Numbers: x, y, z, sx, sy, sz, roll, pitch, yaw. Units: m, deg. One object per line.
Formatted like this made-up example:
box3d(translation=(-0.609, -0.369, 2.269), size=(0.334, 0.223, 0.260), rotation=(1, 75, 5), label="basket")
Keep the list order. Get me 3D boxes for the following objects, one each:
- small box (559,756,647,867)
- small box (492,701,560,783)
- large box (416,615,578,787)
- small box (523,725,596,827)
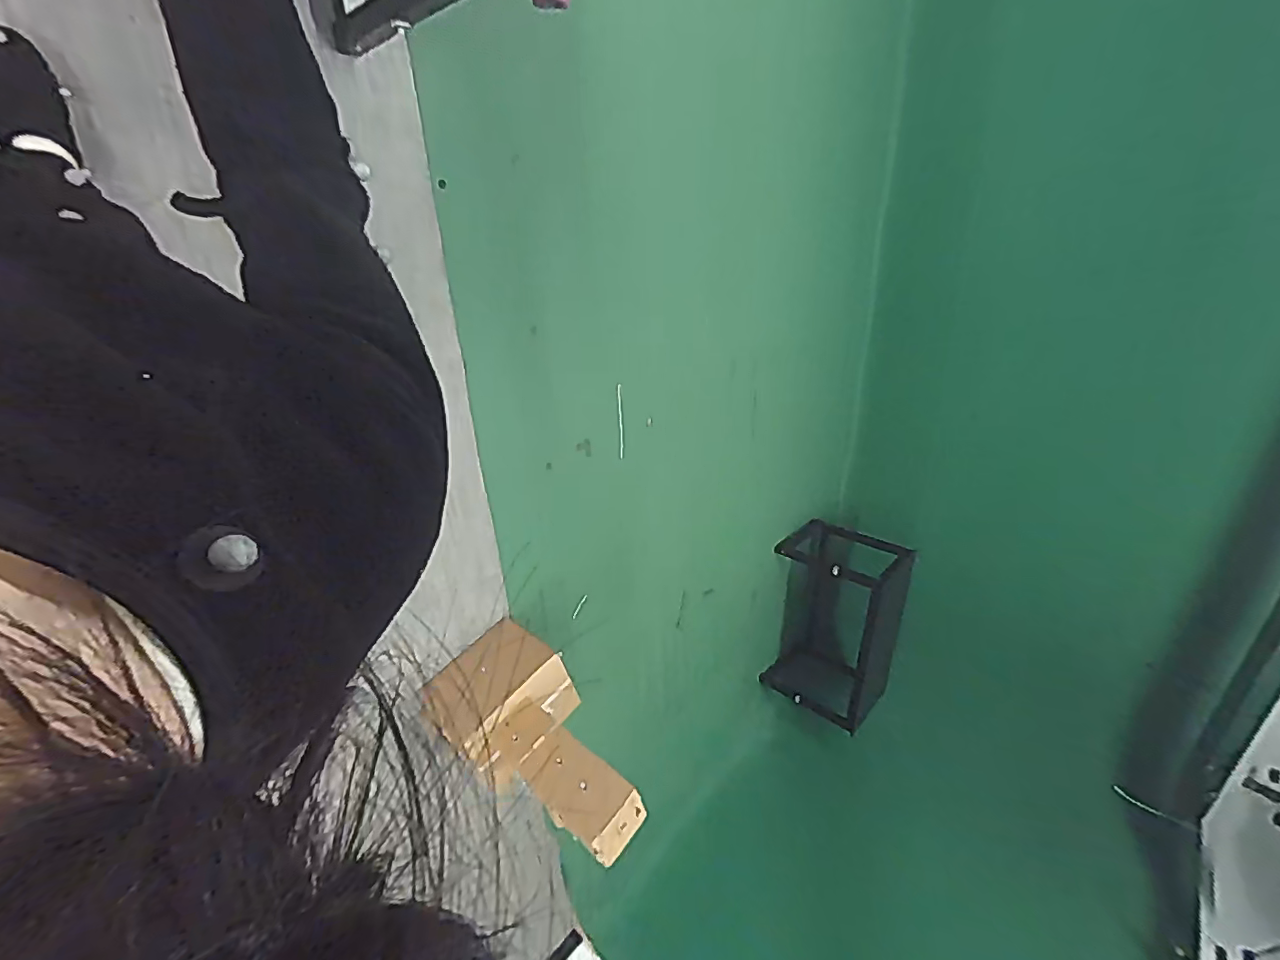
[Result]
box3d(translation=(-0.110, 0.937, 1.539), size=(0.179, 0.176, 0.168), rotation=(-38, 131, -31), label="small box")
box3d(translation=(-0.350, 0.846, 1.744), size=(0.168, 0.176, 0.179), rotation=(-39, 132, -32), label="small box")
box3d(translation=(-0.499, 0.770, 1.927), size=(0.408, 0.320, 0.320), rotation=(-41, 134, -33), label="large box")
box3d(translation=(-0.232, 0.893, 1.641), size=(0.179, 0.176, 0.168), rotation=(-40, 132, -32), label="small box")
